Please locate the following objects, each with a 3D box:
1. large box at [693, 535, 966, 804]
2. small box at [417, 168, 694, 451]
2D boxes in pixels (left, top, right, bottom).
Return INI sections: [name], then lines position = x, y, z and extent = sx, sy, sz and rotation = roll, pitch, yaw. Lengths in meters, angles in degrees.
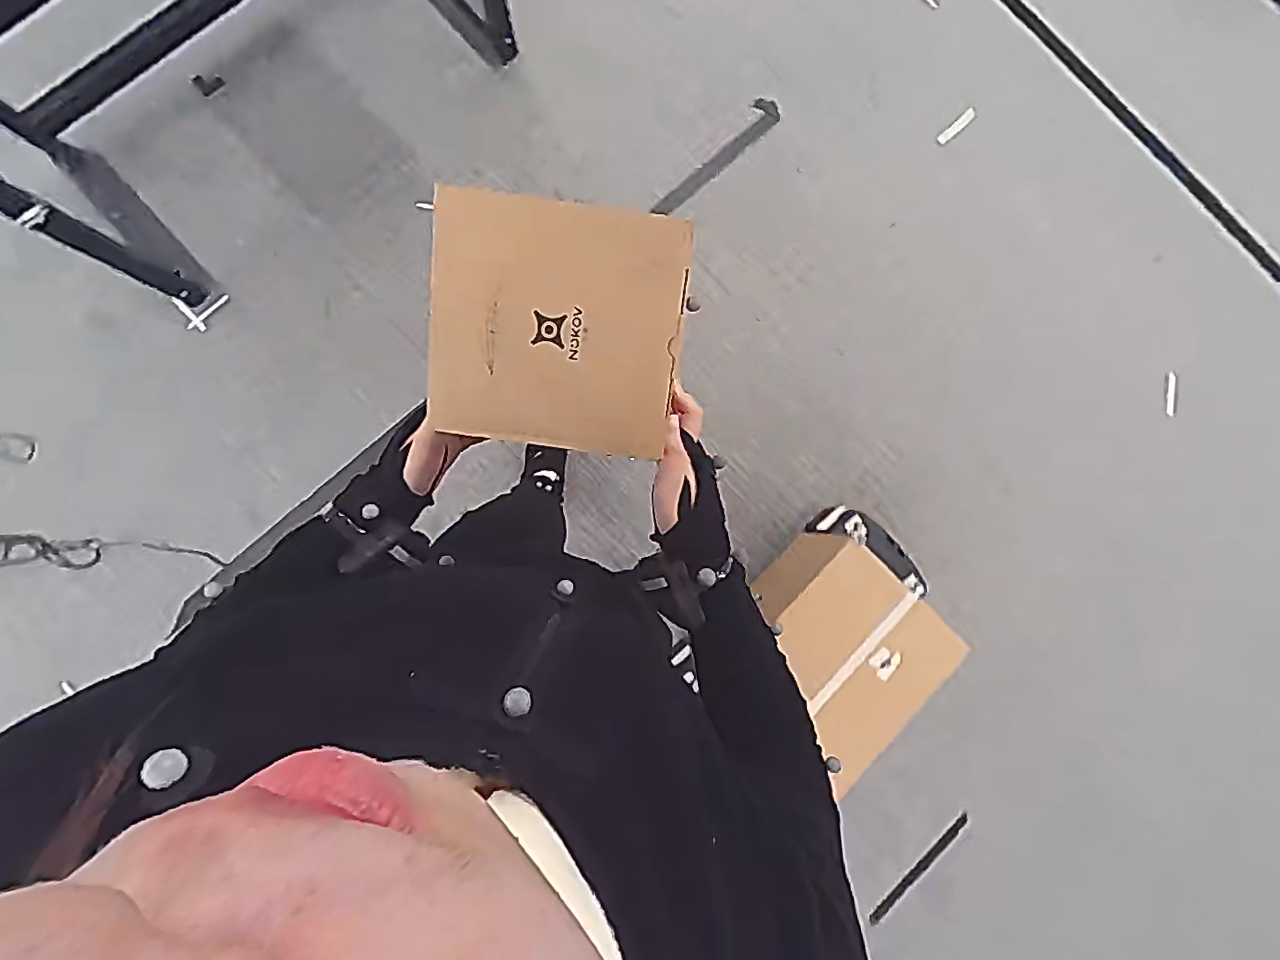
[large box]
position = 0.371, 0.365, 1.159
extent = 0.320, 0.320, 0.408
rotation = 45, 84, 1
[small box]
position = -0.060, -0.129, 0.443
extent = 0.179, 0.176, 0.168
rotation = 8, 103, 0
